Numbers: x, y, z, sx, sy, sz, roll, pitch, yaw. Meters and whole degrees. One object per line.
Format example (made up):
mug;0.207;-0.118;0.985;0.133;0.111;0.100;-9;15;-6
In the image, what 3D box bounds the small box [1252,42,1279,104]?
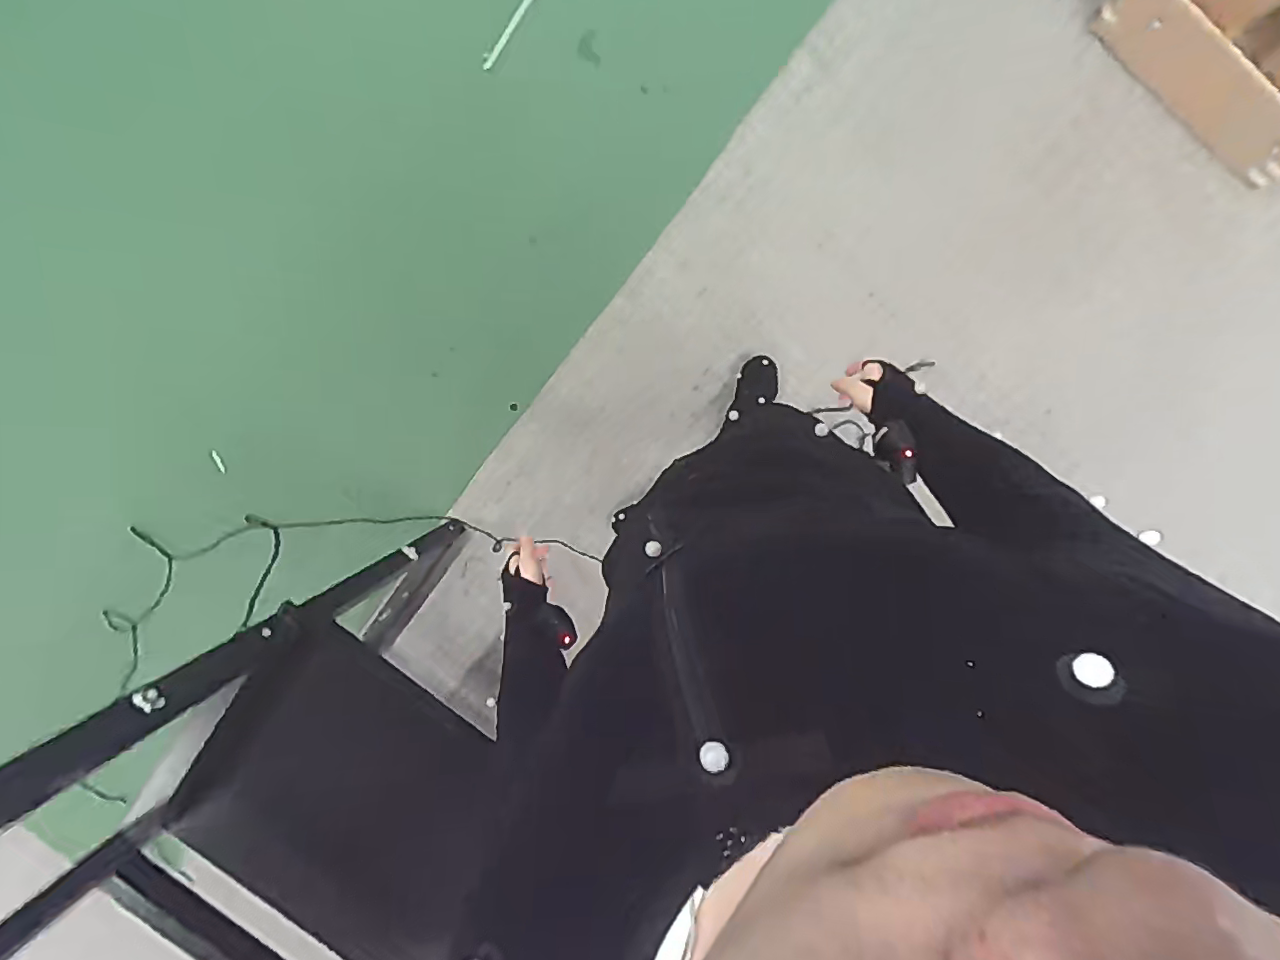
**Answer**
small box;1.555;-0.954;1.193;0.179;0.176;0.168;44;100;-2
